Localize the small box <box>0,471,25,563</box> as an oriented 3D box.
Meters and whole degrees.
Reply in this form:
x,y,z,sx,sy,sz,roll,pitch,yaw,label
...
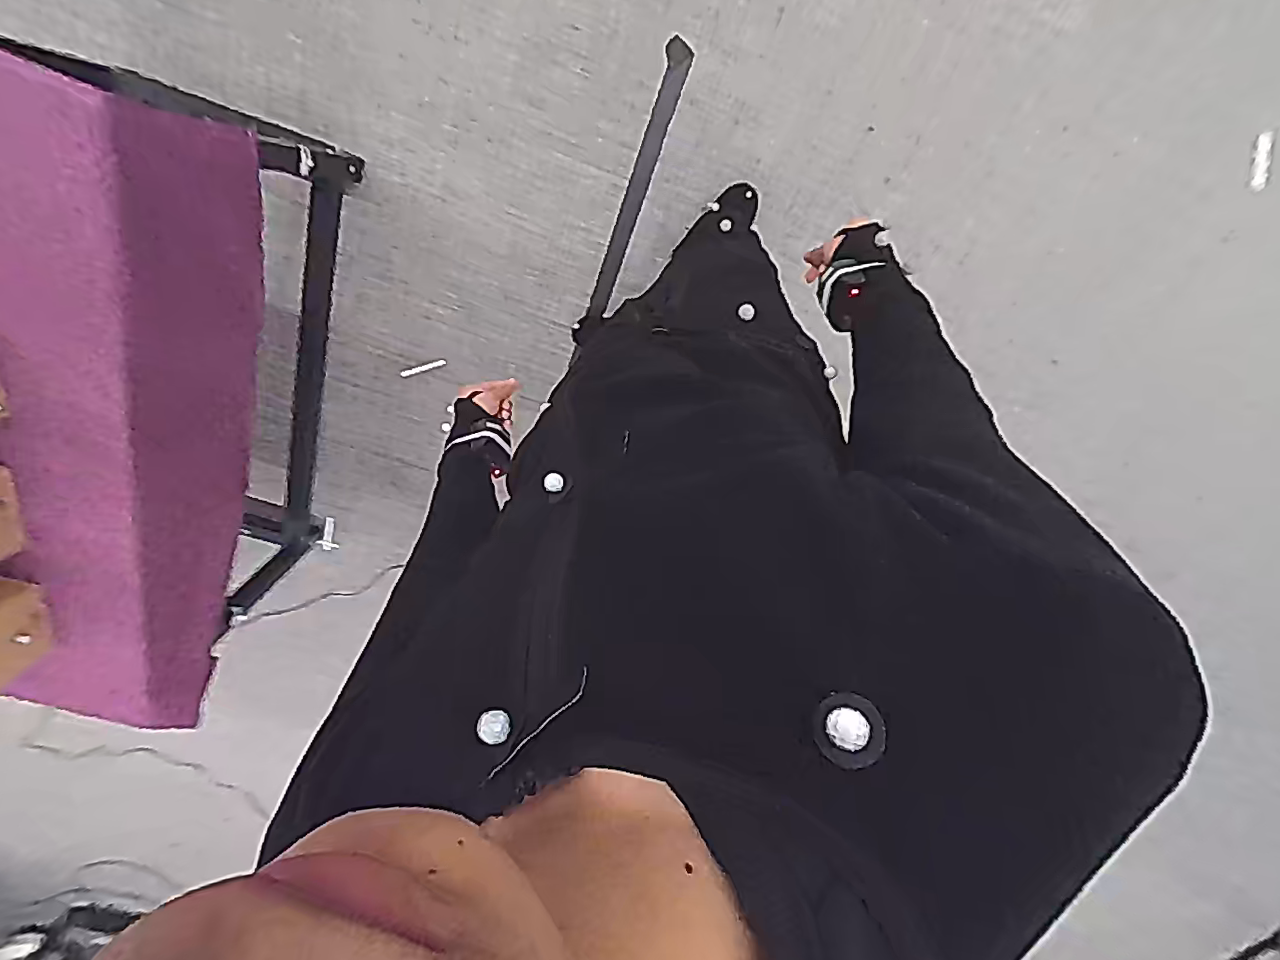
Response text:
x,y,z,sx,sy,sz,roll,pitch,yaw,label
-1.150,0.066,0.858,0.179,0.176,0.168,16,115,-6,small box

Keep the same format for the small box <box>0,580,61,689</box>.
x,y,z,sx,sy,sz,roll,pitch,yaw,label
-1.214,0.285,0.963,0.179,0.176,0.168,14,116,-6,small box
